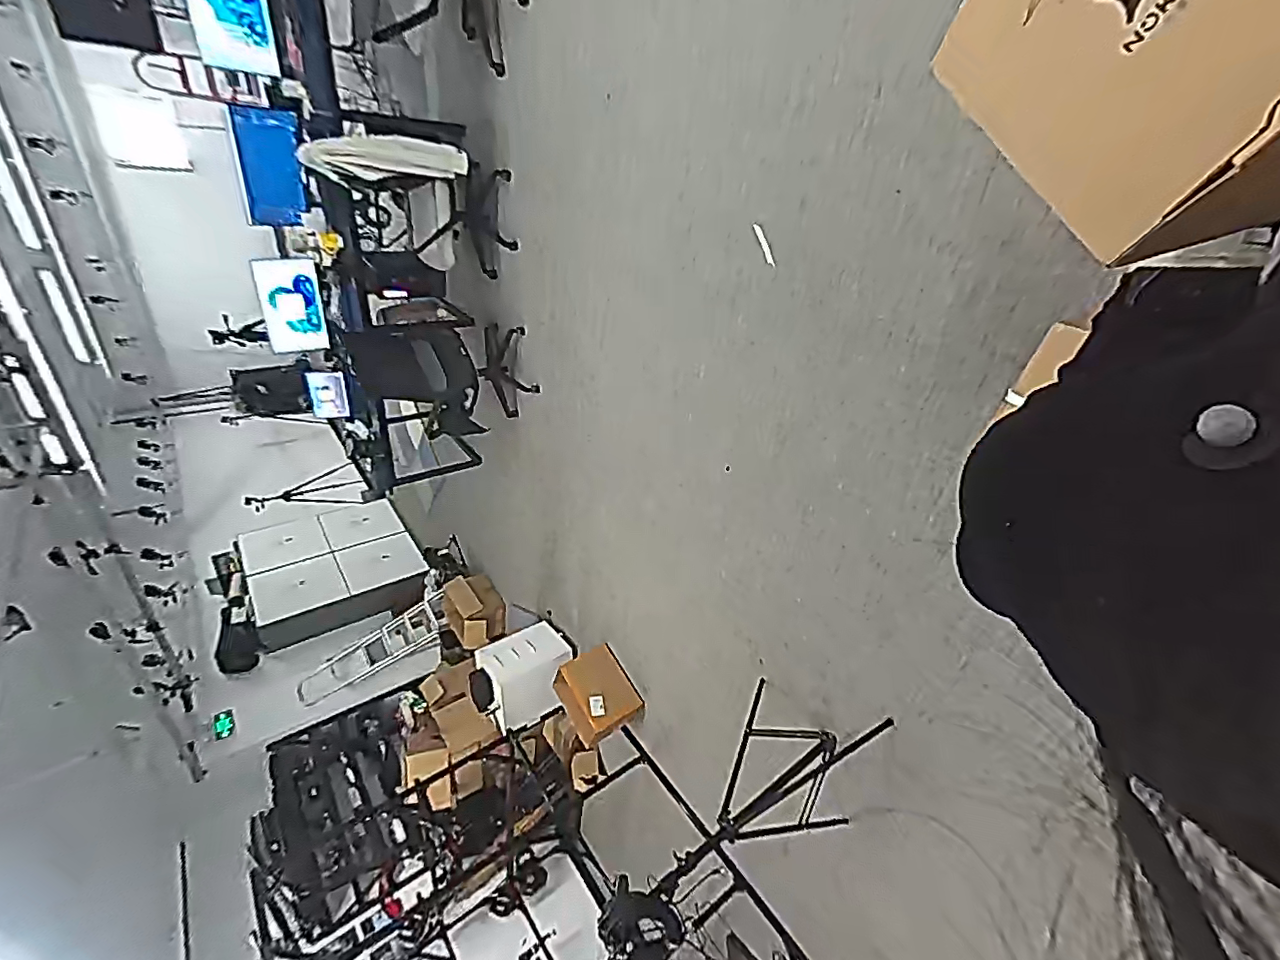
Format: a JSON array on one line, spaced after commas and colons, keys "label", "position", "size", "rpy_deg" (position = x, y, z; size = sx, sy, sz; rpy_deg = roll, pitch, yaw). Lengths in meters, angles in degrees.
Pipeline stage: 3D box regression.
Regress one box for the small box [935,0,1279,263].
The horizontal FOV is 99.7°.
[{"label": "small box", "position": [0.294, -0.241, 0.251], "size": [0.168, 0.176, 0.179], "rpy_deg": [101, 149, -66]}]
